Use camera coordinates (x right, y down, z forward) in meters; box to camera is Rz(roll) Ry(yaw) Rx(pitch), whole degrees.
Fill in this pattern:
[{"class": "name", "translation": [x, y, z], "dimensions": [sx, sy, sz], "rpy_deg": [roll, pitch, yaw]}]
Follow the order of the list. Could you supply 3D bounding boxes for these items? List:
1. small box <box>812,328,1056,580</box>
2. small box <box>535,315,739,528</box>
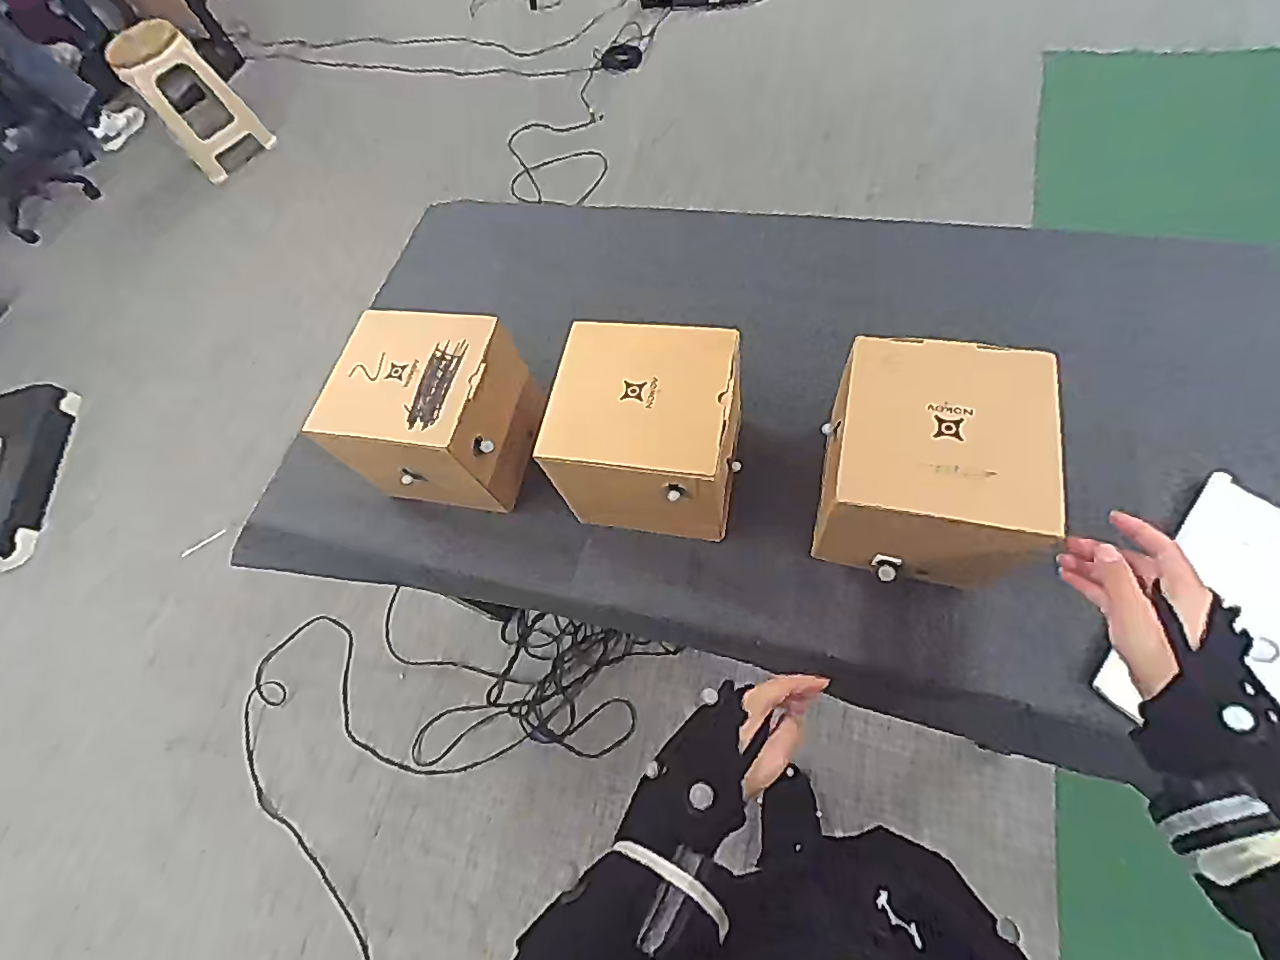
[{"class": "small box", "translation": [0.271, -0.019, 0.530], "dimensions": [0.168, 0.176, 0.179], "rpy_deg": [10, 68, 15]}, {"class": "small box", "translation": [0.011, -0.057, 0.593], "dimensions": [0.179, 0.176, 0.168], "rpy_deg": [7, 66, 12]}]
